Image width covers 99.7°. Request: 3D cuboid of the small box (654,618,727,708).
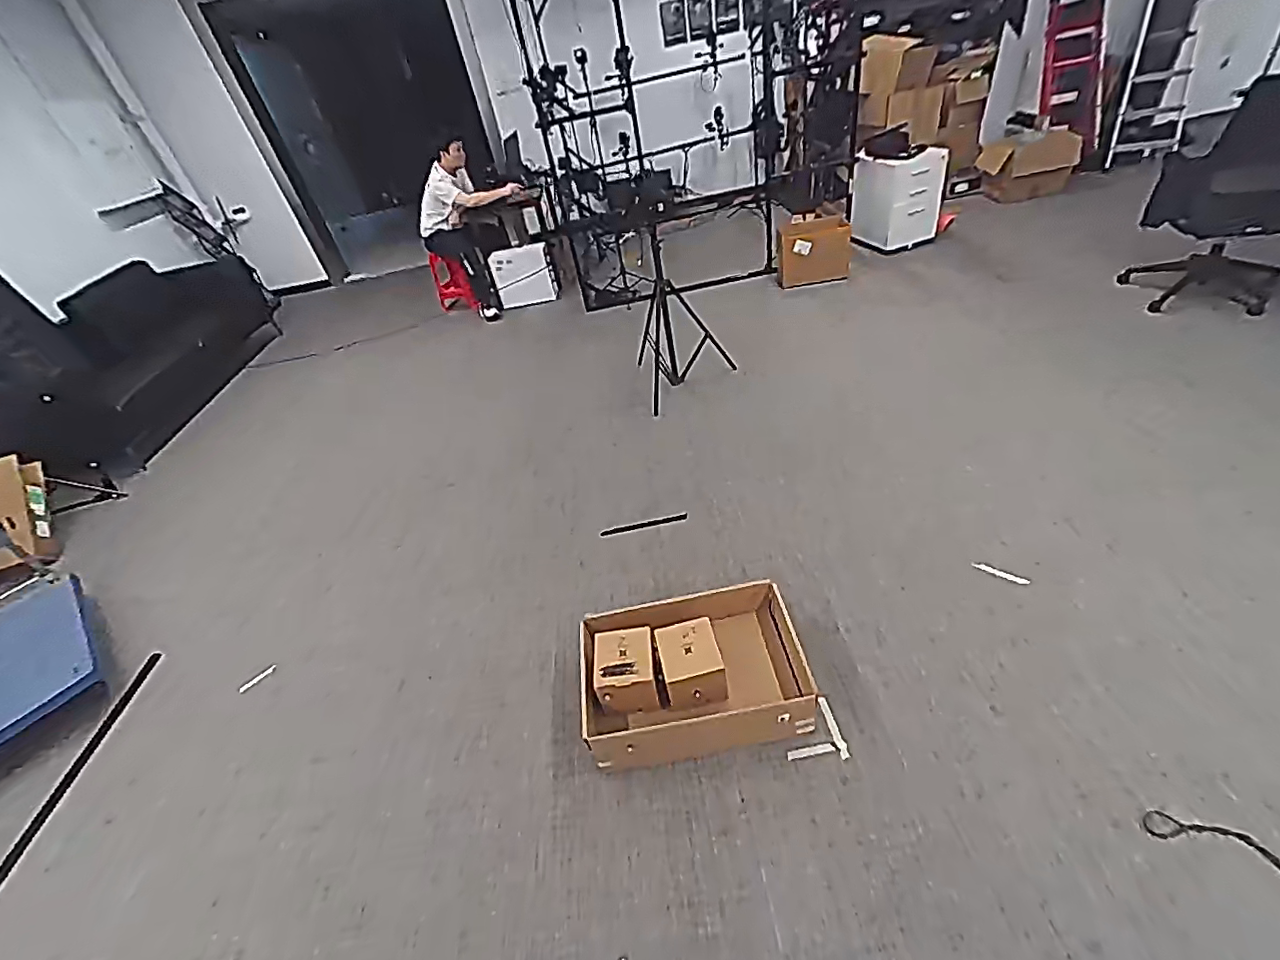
[{"bbox_3d":[0.147,0.533,1.558,0.168,0.176,0.179,-14,39,-2],"label":"small box"}]
